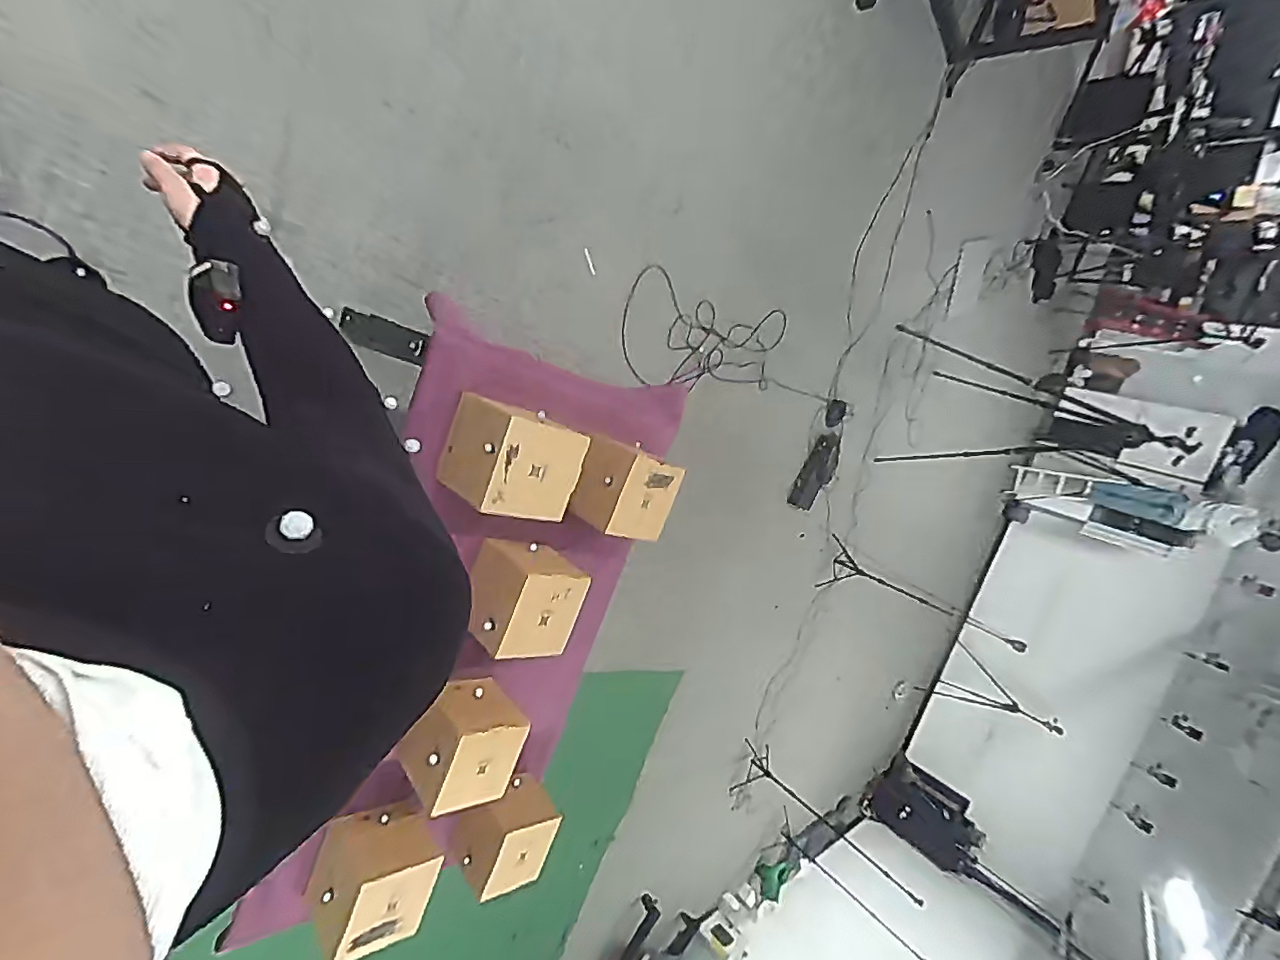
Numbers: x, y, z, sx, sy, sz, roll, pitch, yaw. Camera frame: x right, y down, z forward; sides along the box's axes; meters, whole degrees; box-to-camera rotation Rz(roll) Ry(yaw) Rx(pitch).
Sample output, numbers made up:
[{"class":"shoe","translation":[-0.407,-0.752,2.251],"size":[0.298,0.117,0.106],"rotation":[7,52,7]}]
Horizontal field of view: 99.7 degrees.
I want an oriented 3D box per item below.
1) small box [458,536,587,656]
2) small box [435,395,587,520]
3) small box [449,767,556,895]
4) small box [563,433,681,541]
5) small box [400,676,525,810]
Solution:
[{"class":"small box","translation":[-0.245,0.234,1.099],"size":[0.168,0.176,0.179],"rotation":[17,97,-49]},{"class":"small box","translation":[-0.233,-0.040,0.969],"size":[0.179,0.176,0.168],"rotation":[13,100,-49]},{"class":"small box","translation":[-0.339,0.838,1.310],"size":[0.168,0.176,0.179],"rotation":[19,95,-47]},{"class":"small box","translation":[-0.047,0.013,1.187],"size":[0.168,0.176,0.179],"rotation":[16,99,-48]},{"class":"small box","translation":[-0.375,0.535,1.125],"size":[0.168,0.176,0.179],"rotation":[18,96,-48]}]
